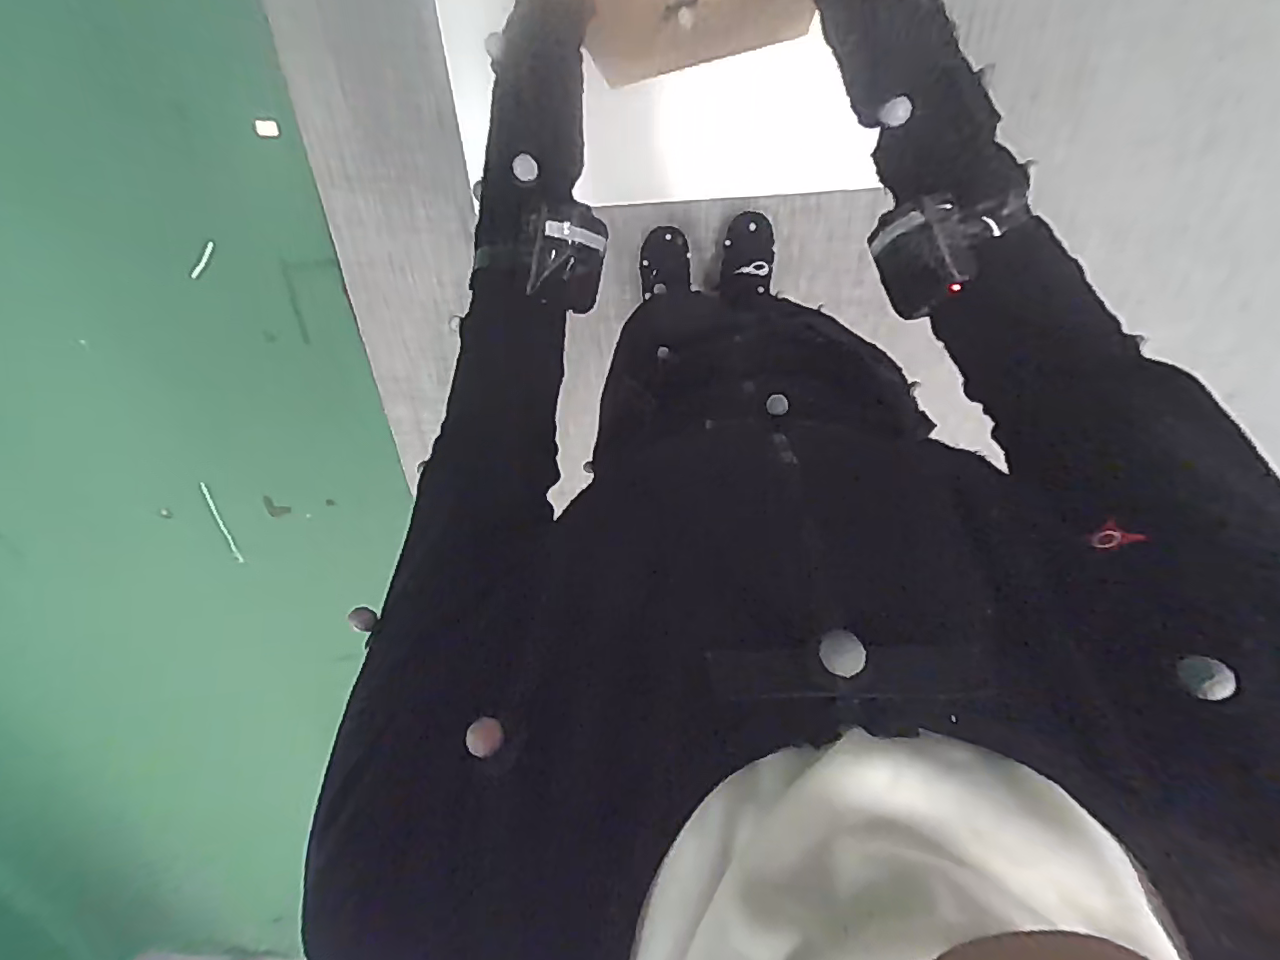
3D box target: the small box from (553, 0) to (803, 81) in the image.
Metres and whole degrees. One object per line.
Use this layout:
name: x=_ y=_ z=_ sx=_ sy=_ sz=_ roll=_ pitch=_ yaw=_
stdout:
small box: x=0.027 y=-0.410 z=0.372 sx=0.179 sy=0.176 sz=0.168 roll=-7 pitch=110 yaw=10
